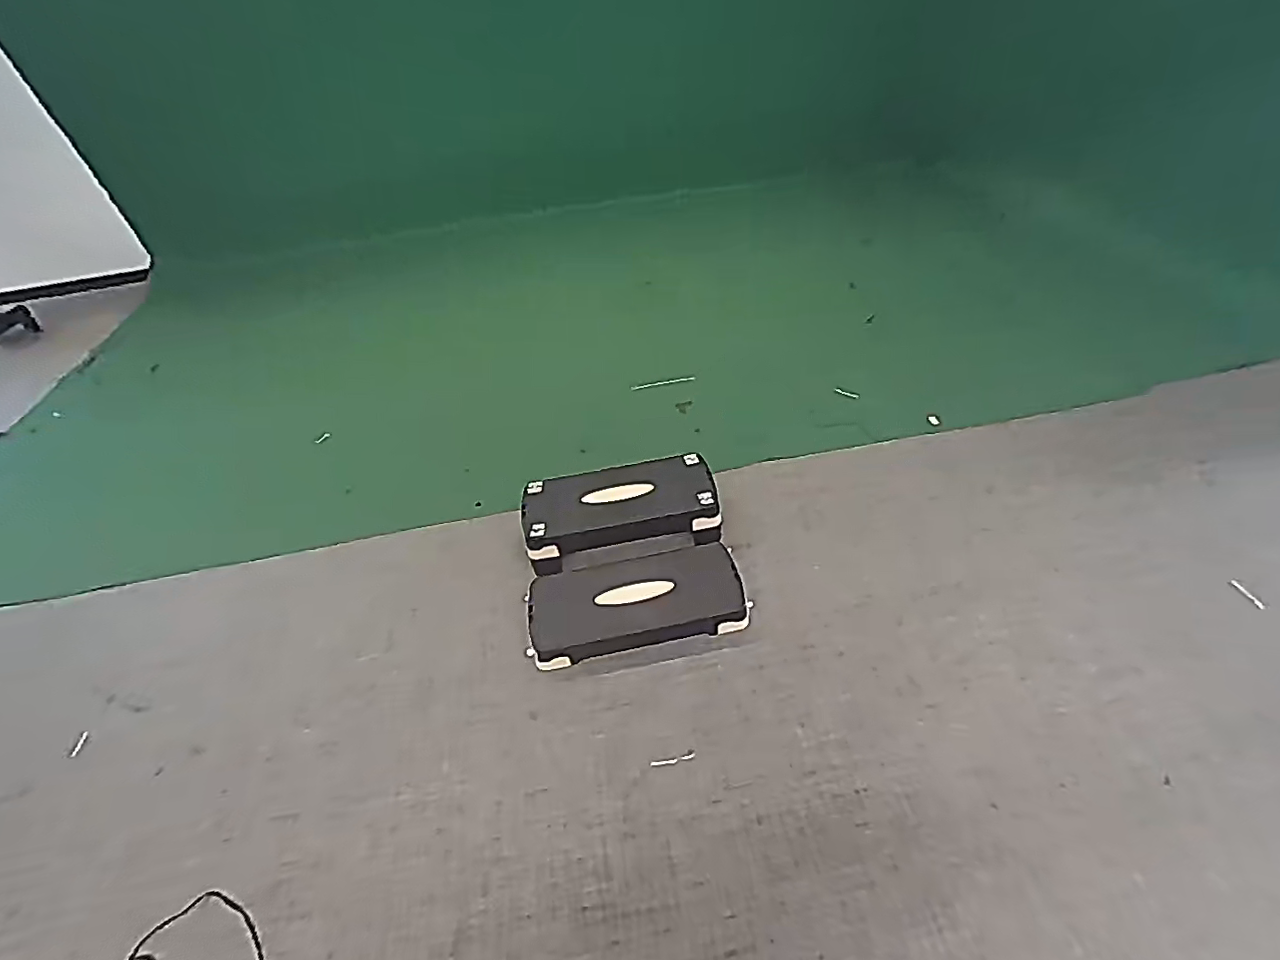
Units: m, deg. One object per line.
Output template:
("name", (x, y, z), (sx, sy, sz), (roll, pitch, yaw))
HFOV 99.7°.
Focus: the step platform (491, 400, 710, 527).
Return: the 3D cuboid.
("step platform", (-0.121, -0.056, 1.768), (0.684, 0.204, 0.286), (-11, 46, -3))
